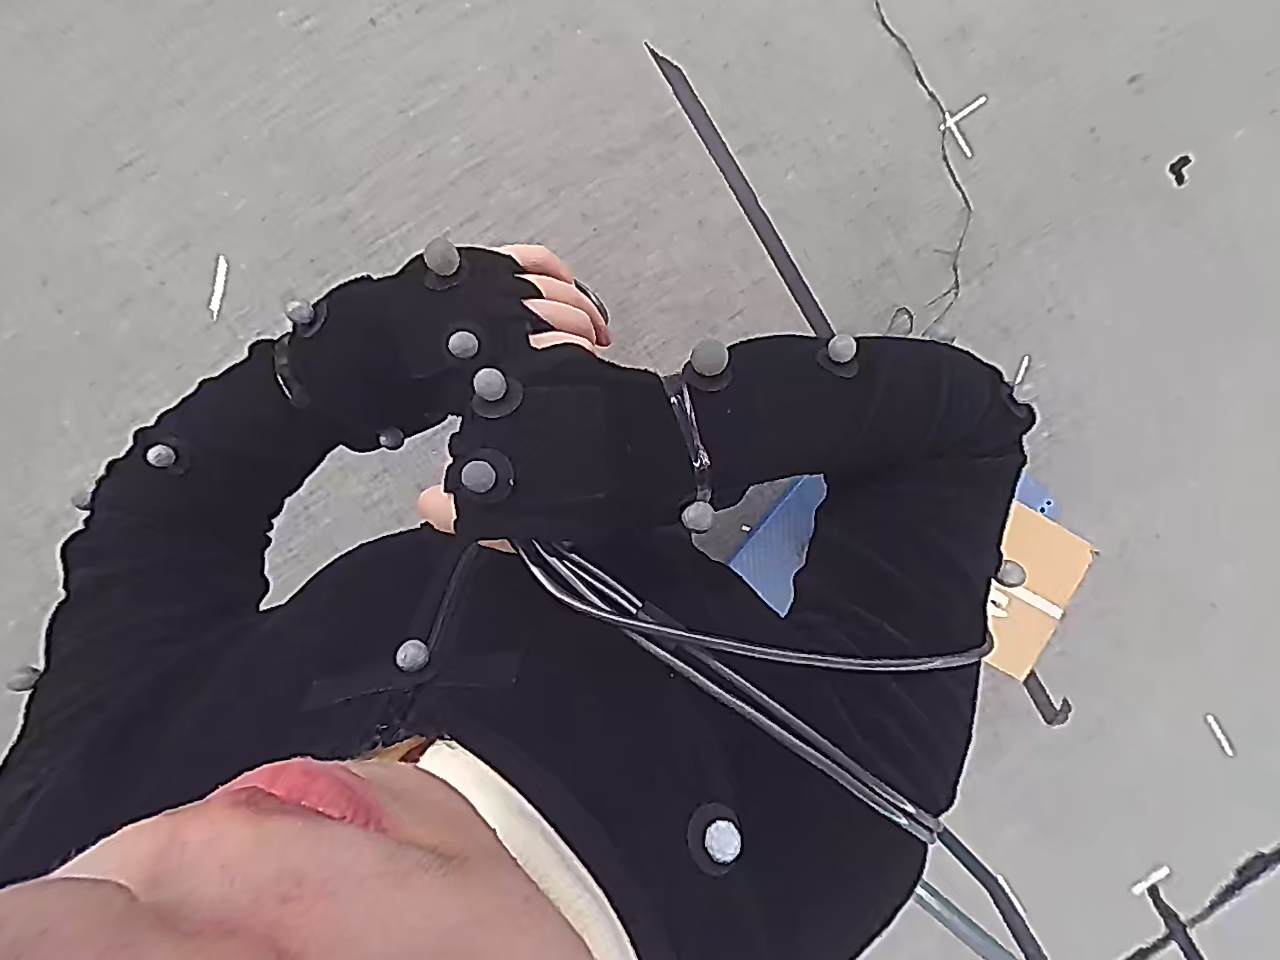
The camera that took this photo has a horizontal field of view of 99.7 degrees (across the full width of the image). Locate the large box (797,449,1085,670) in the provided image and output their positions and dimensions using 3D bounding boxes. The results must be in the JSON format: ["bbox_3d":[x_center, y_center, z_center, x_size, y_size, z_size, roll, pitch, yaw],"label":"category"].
[{"bbox_3d":[0.642,0.153,1.220,0.408,0.320,0.320,29,92,-5],"label":"large box"}]
